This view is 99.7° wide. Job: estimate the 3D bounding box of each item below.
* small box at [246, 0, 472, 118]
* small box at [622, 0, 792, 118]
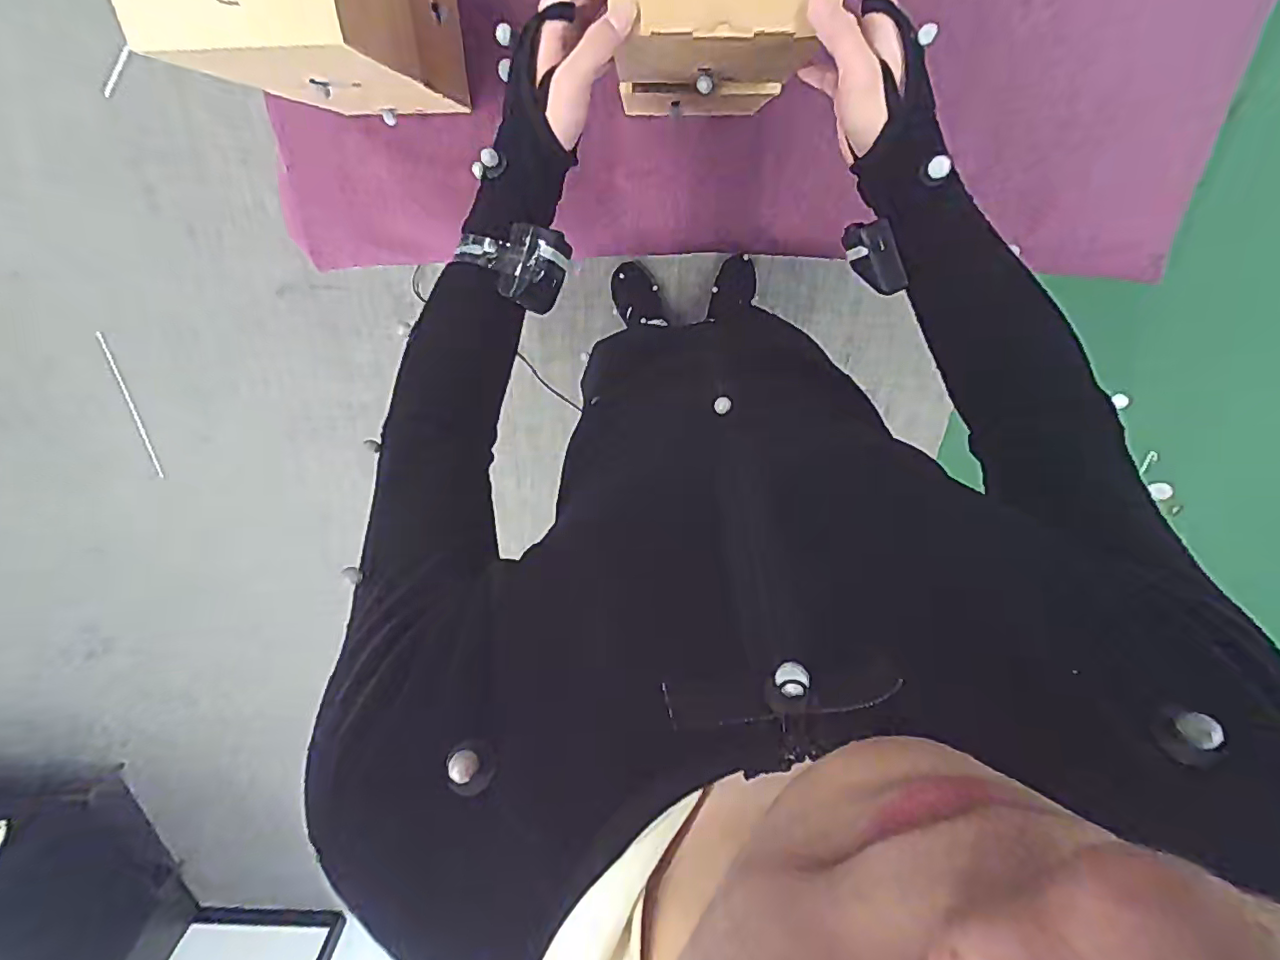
[{"bbox_3d":[-0.294,-0.506,0.581,0.168,0.176,0.179,-1,118,1],"label":"small box"},{"bbox_3d":[0.067,-0.503,0.582,0.168,0.176,0.179,0,116,1],"label":"small box"}]
